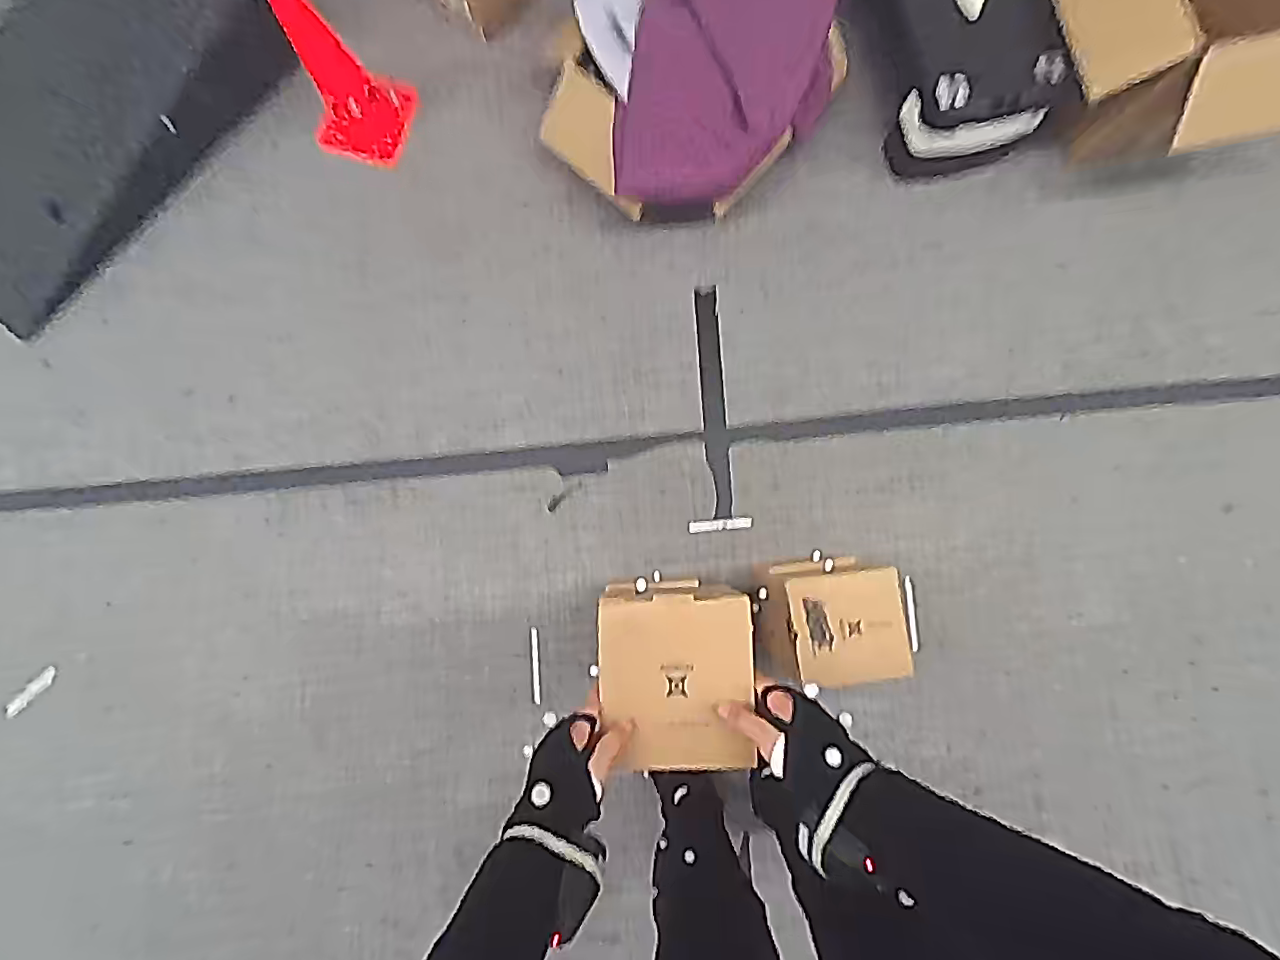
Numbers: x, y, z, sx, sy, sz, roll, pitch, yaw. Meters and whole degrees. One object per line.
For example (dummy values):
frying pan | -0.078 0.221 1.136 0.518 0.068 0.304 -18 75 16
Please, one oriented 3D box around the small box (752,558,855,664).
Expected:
small box | 0.324 0.254 1.065 0.168 0.176 0.179 -7 84 0

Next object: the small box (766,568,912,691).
small box | 0.316 0.239 0.900 0.179 0.176 0.168 -7 84 -1

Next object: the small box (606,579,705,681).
small box | 0.028 0.287 1.063 0.179 0.176 0.168 -3 83 1
